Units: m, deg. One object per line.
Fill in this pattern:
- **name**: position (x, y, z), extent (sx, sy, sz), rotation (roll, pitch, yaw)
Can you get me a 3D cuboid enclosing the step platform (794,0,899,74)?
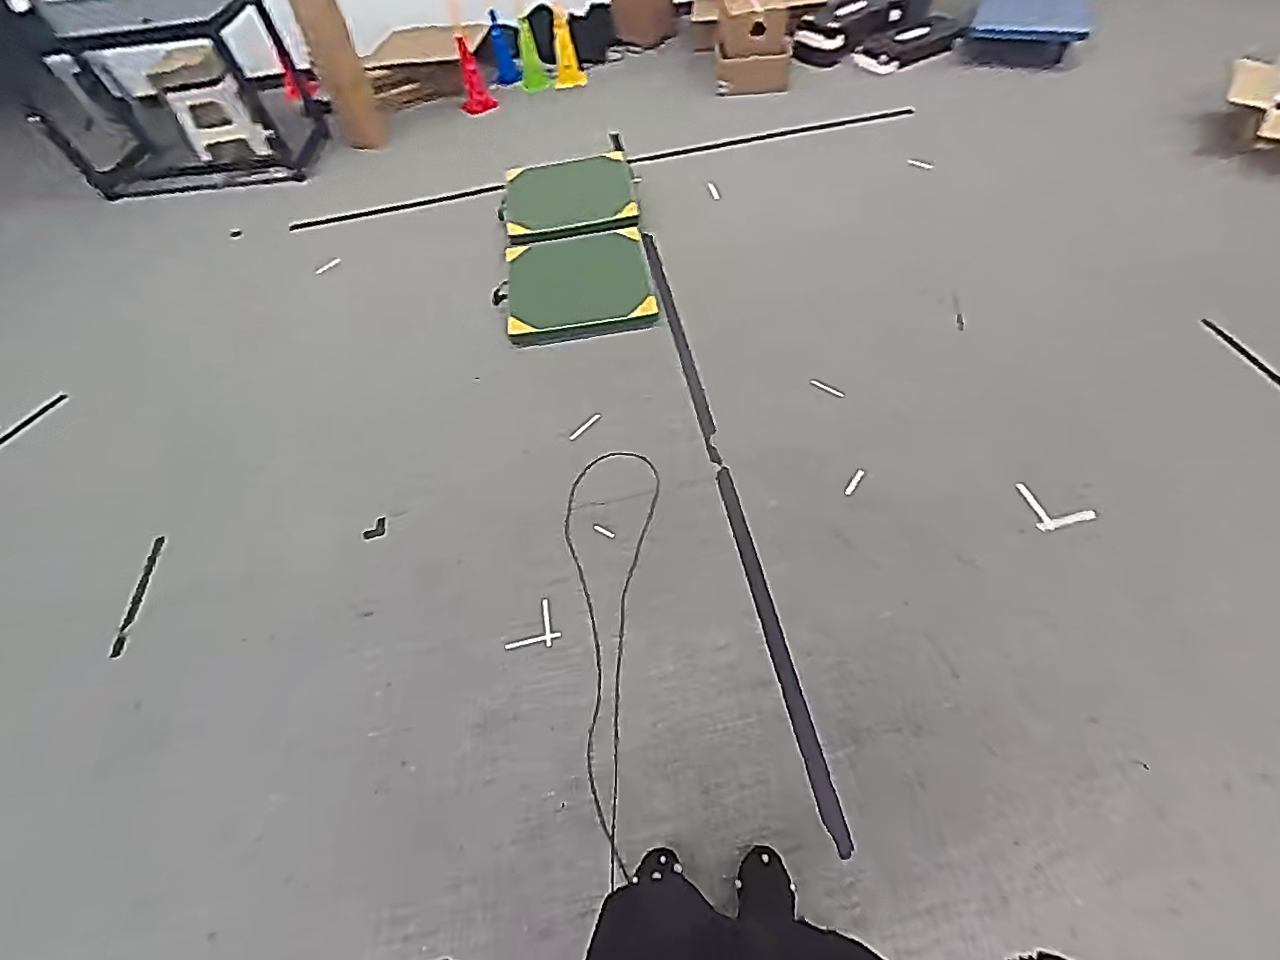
- **step platform**: position (1.287, -2.783, 3.372), extent (0.684, 0.204, 0.286), rotation (-36, 61, -17)
